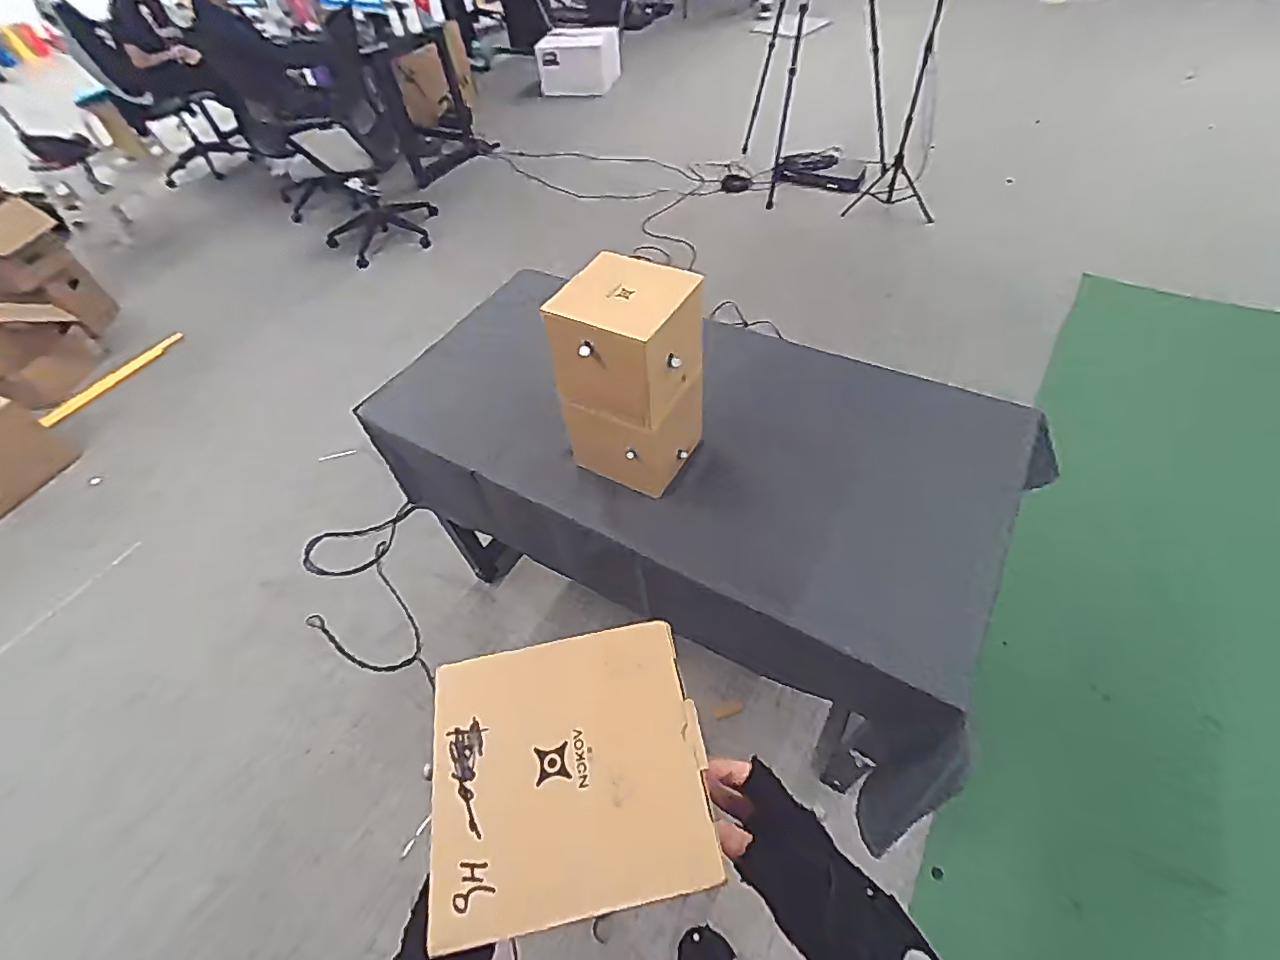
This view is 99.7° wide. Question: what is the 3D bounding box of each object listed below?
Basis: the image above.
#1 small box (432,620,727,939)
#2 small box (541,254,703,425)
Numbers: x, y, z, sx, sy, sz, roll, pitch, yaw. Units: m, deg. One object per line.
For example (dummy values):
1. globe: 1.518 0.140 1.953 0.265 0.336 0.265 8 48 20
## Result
1. small box: -0.046 0.232 0.424 0.179 0.176 0.168 -9 52 -6
2. small box: -0.017 -0.208 0.817 0.179 0.176 0.168 22 57 22
